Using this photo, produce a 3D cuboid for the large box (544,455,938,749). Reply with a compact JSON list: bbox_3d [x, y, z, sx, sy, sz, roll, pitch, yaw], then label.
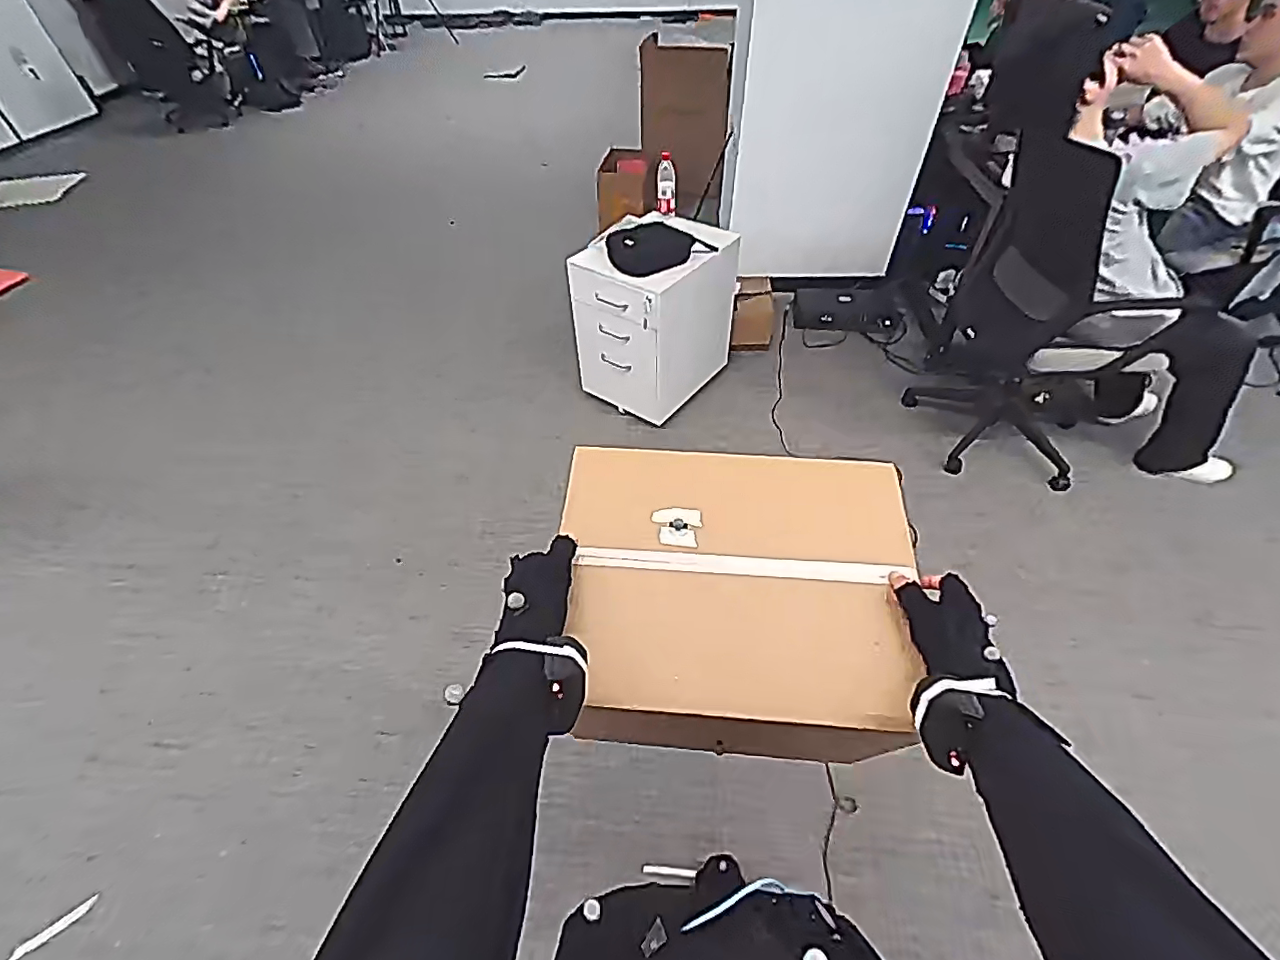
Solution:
[{"bbox_3d":[0.114,0.180,0.747,0.408,0.320,0.320,3,57,4],"label":"large box"}]
